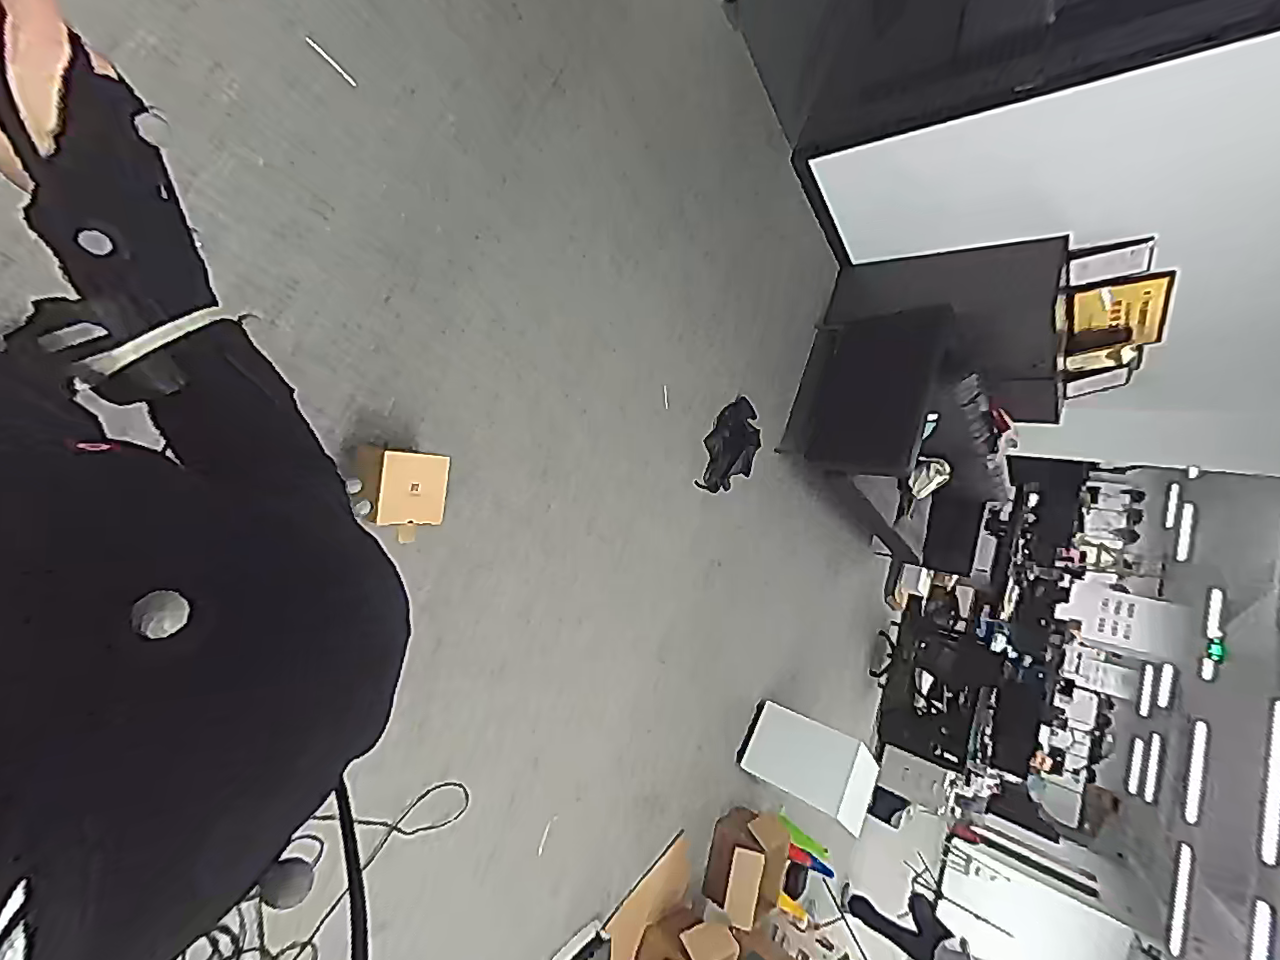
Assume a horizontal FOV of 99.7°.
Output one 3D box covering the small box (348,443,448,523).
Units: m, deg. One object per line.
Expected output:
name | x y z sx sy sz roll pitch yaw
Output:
small box | -0.607 0.006 1.350 0.168 0.176 0.179 4 95 -50
